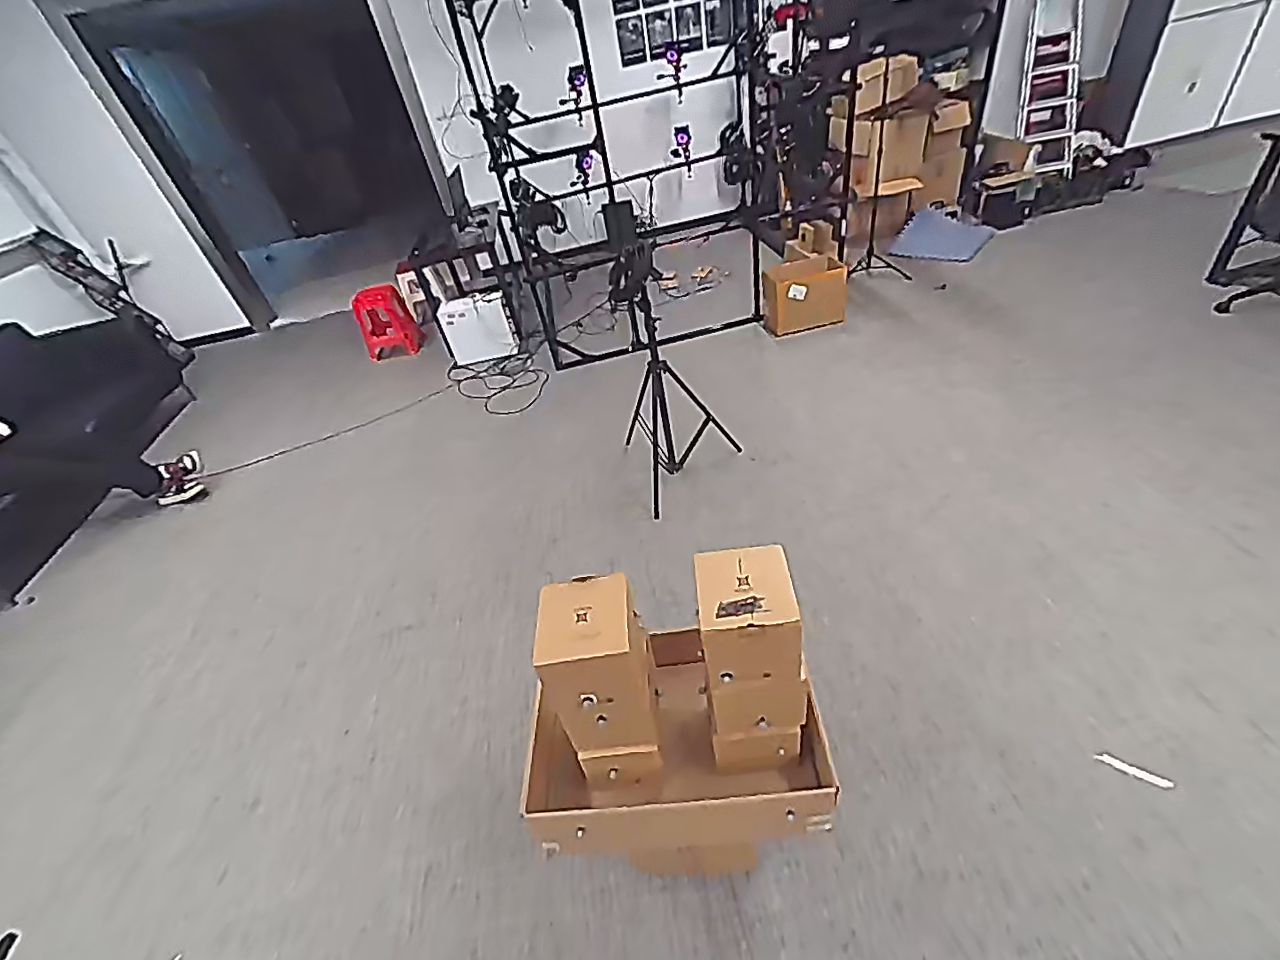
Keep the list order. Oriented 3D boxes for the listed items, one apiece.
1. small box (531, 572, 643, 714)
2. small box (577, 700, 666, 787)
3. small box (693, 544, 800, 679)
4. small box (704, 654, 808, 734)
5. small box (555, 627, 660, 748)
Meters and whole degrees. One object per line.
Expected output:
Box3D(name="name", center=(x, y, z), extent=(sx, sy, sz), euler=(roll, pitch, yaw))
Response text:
Box3D(name="small box", center=(-0.090, 0.299, 0.994), extent=(0.168, 0.176, 0.179), euler=(-10, 38, 4))
Box3D(name="small box", center=(-0.037, 0.555, 1.193), extent=(0.168, 0.176, 0.179), euler=(-8, 38, 3))
Box3D(name="small box", center=(0.192, 0.243, 0.980), extent=(0.168, 0.176, 0.179), euler=(-7, 38, 7))
Box3D(name="small box", center=(0.220, 0.379, 1.072), extent=(0.179, 0.176, 0.168), euler=(-9, 38, 3))
Box3D(name="small box", center=(-0.059, 0.423, 1.096), extent=(0.179, 0.176, 0.168), euler=(-7, 39, 4))
